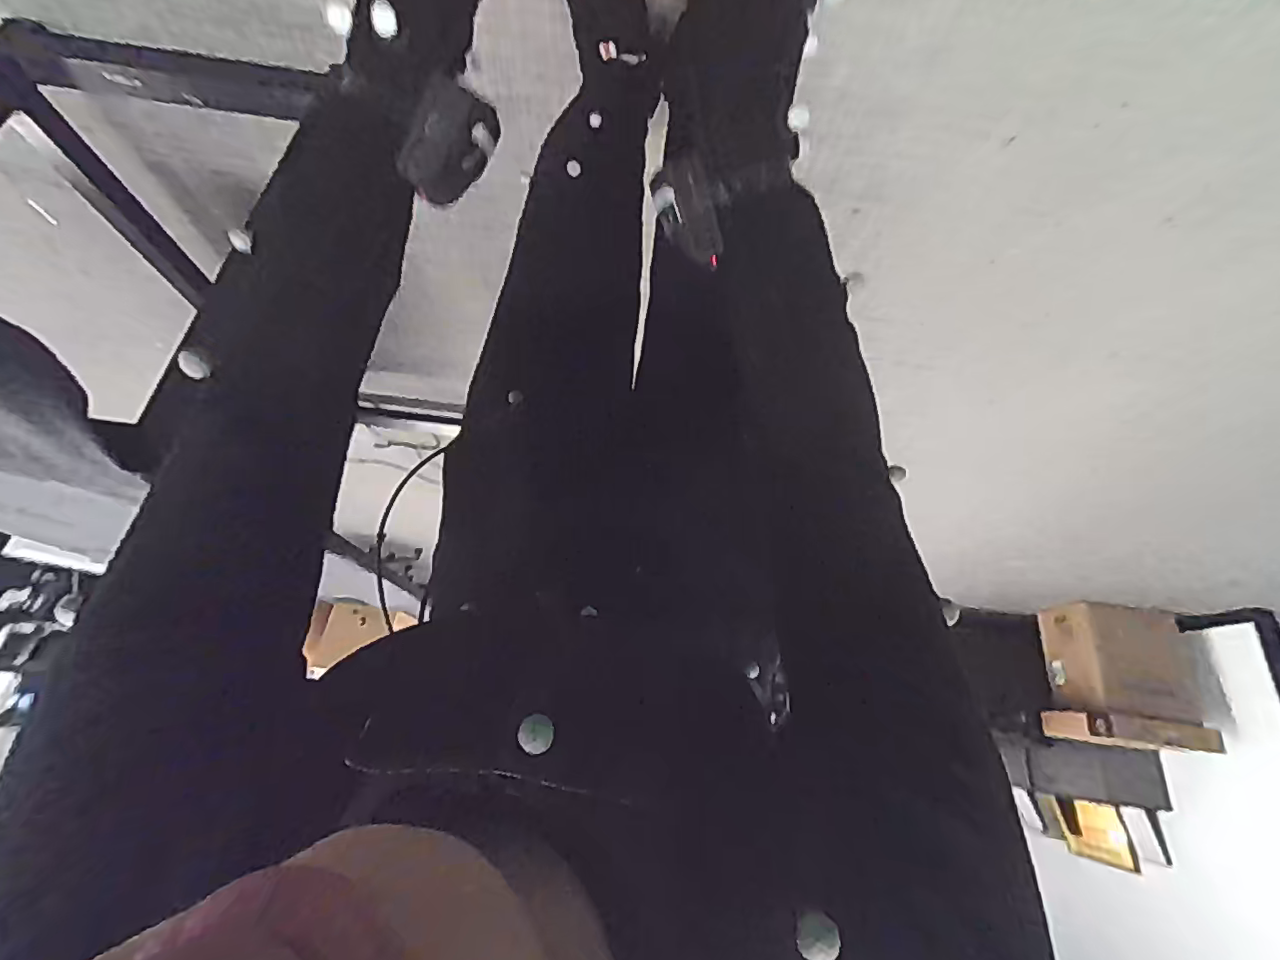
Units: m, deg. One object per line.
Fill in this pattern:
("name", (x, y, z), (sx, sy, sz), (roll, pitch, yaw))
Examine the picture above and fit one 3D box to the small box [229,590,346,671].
("small box", (-0.908, 0.396, 1.413), (0.168, 0.176, 0.179), (6, 156, 2))
